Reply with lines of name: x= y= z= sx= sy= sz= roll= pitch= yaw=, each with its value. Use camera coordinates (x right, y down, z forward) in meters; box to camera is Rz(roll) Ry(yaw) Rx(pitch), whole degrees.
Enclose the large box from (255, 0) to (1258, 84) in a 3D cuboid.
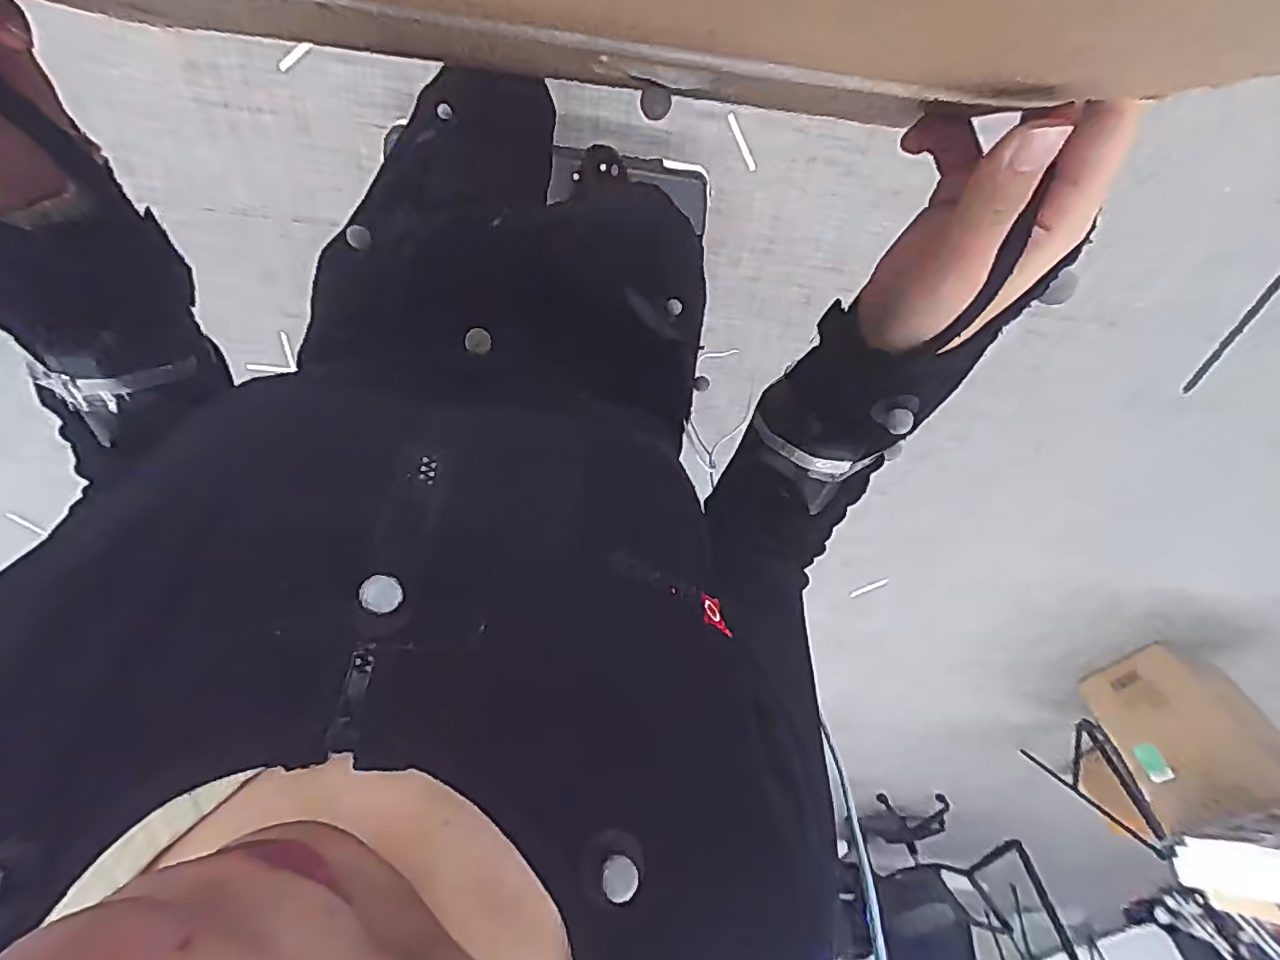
large box: x=-0.043 y=-0.285 z=0.075 sx=0.408 sy=0.320 sz=0.320 roll=5 pitch=122 yaw=-3
